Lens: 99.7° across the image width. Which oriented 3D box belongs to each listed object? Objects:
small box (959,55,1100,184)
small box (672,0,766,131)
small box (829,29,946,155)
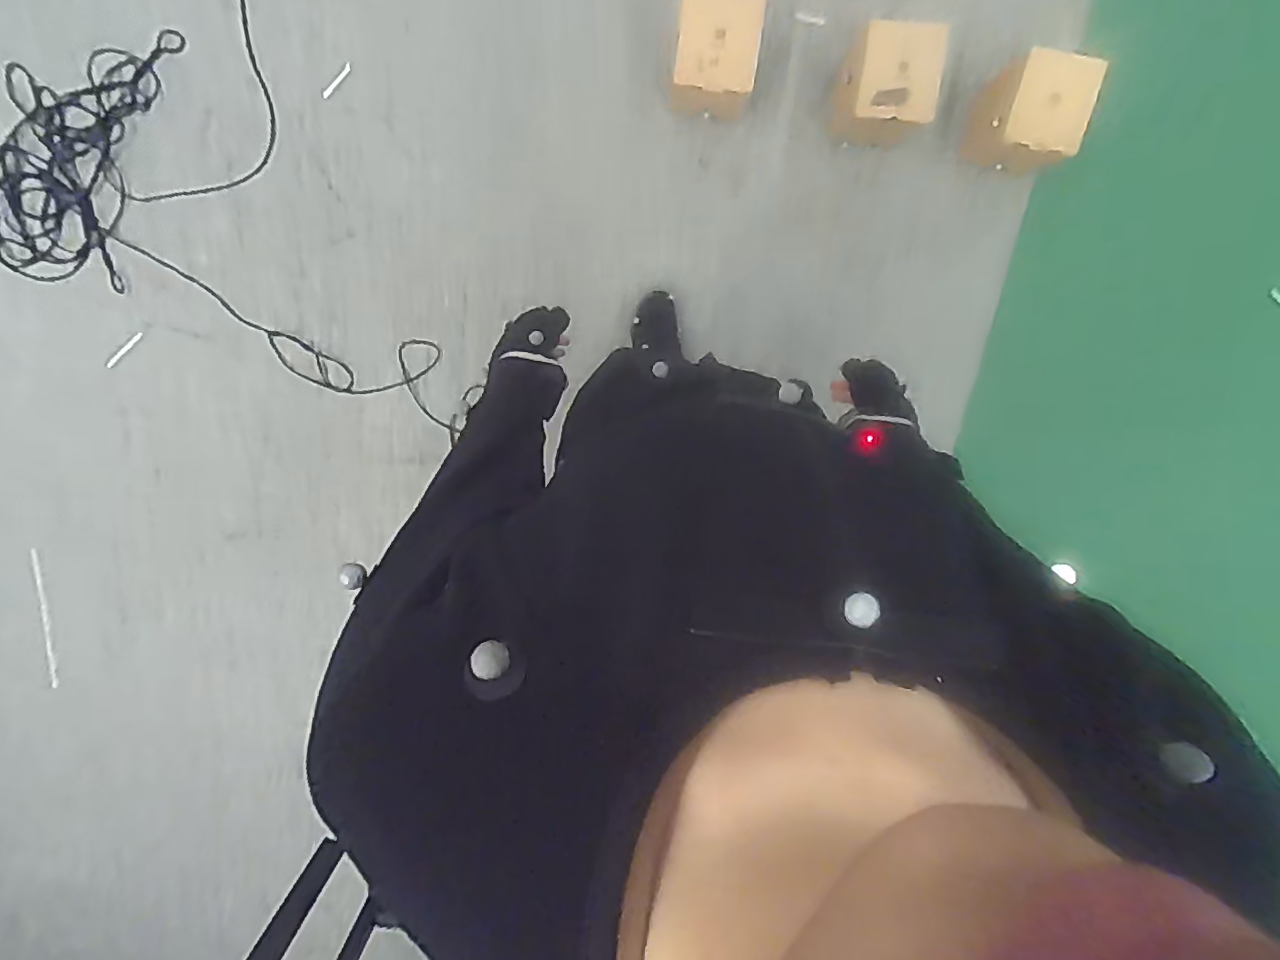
[{"bbox_3d":[0.852,-0.792,1.205,0.168,0.176,0.179,10,104,-2],"label":"small box"},{"bbox_3d":[0.162,-0.898,1.176,0.168,0.176,0.179,8,105,0],"label":"small box"},{"bbox_3d":[0.533,-0.842,1.191,0.168,0.176,0.179,5,103,-1],"label":"small box"}]
